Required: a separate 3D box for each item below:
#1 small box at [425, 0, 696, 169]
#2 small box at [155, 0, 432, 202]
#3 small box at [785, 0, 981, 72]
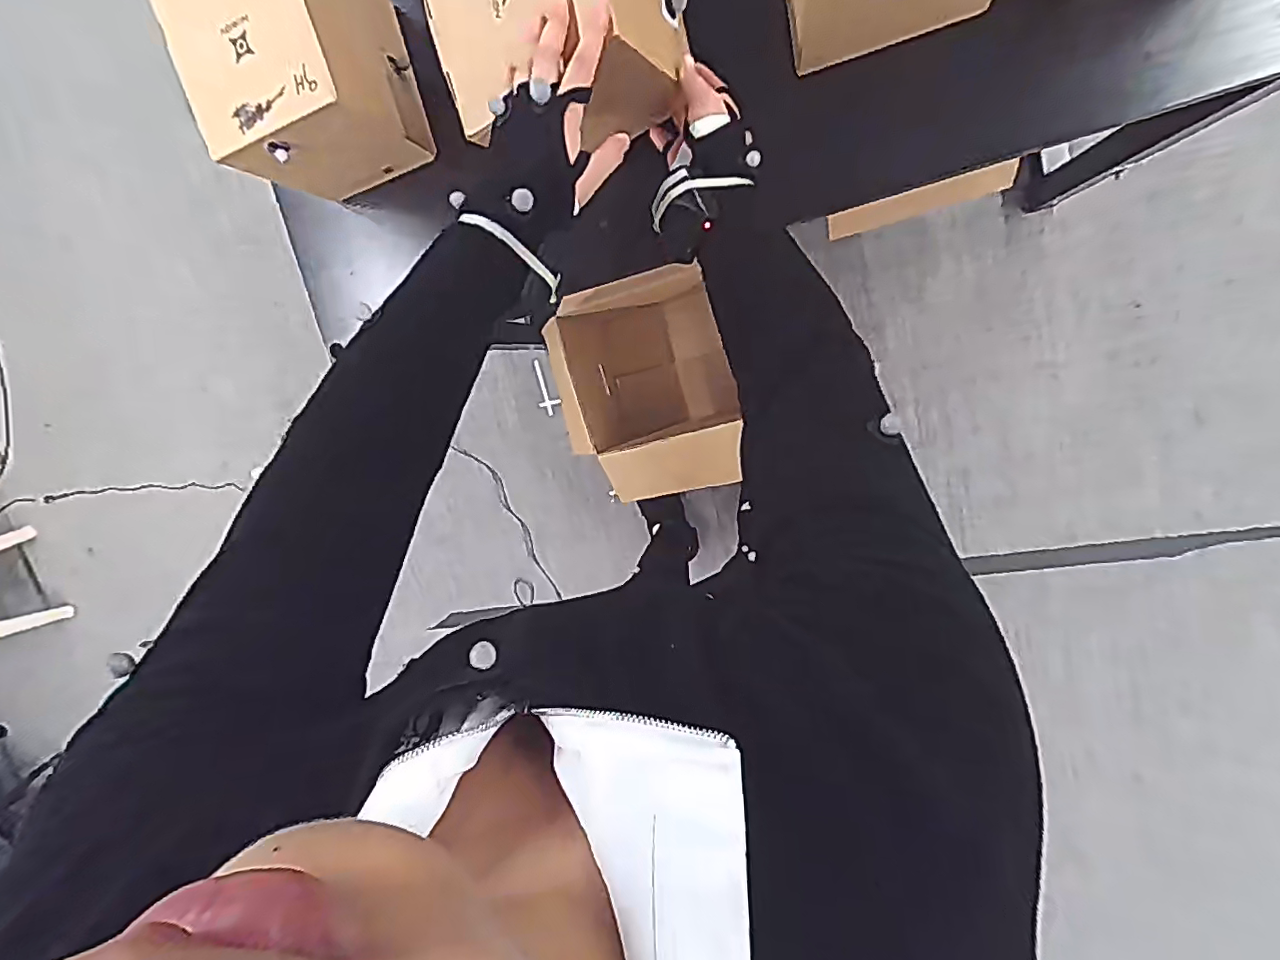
[{"bbox_3d":[-0.070,-0.422,0.507,0.179,0.176,0.168,-10,102,31],"label":"small box"},{"bbox_3d":[-0.363,-0.439,0.593,0.168,0.176,0.179,-12,100,15],"label":"small box"},{"bbox_3d":[0.207,-0.484,0.444,0.179,0.176,0.168,-9,100,14],"label":"small box"}]
